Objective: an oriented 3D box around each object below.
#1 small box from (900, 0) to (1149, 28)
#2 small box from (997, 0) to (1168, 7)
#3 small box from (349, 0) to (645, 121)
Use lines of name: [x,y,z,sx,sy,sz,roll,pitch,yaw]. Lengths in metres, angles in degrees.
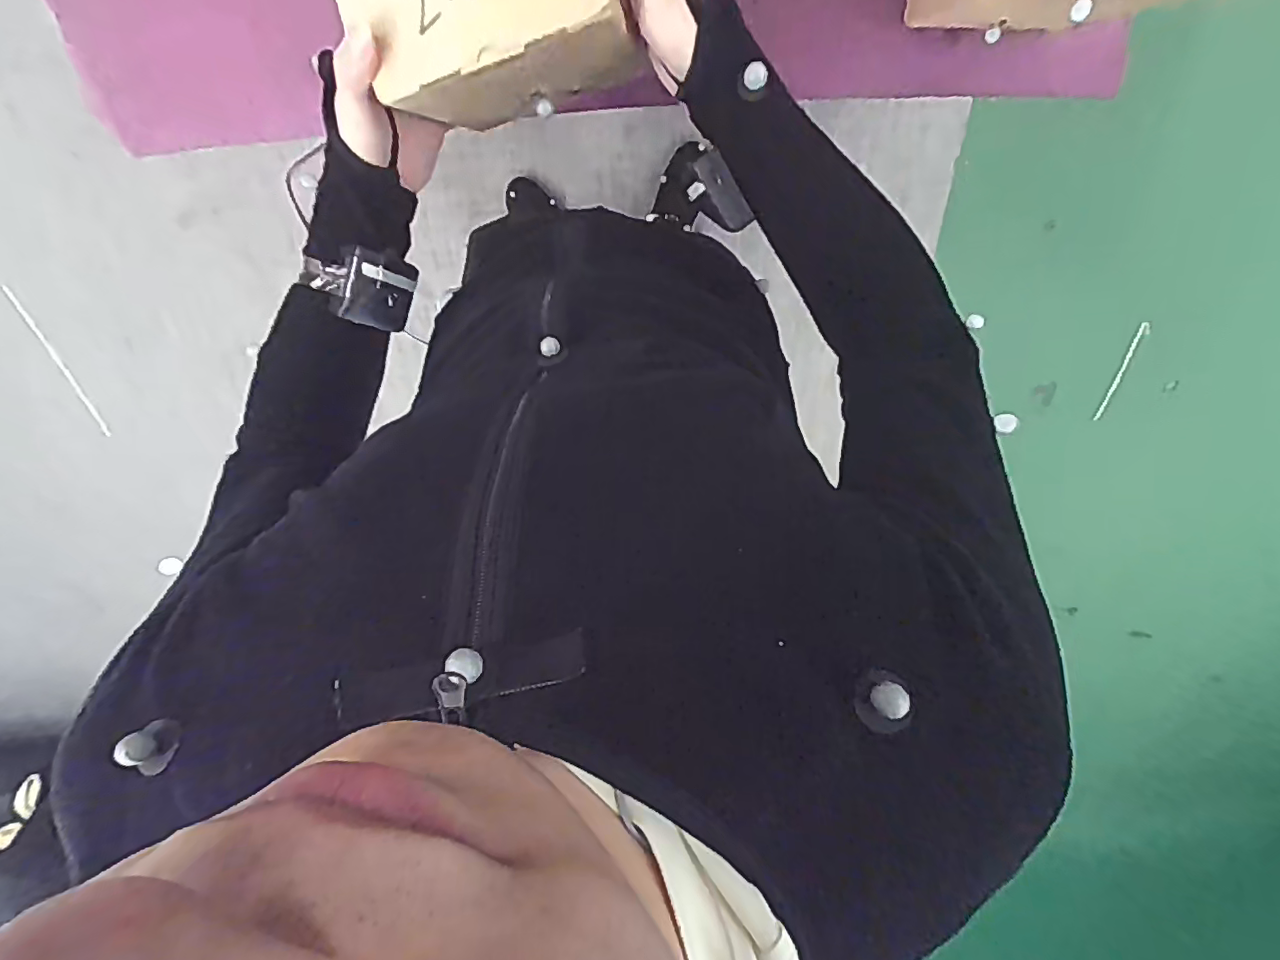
small box: [0.380,-0.541,0.503,0.179,0.176,0.168,0,123,-1]
small box: [0.382,-0.453,0.366,0.168,0.176,0.179,2,124,1]
small box: [-0.101,-0.381,0.374,0.168,0.176,0.179,-10,115,13]
